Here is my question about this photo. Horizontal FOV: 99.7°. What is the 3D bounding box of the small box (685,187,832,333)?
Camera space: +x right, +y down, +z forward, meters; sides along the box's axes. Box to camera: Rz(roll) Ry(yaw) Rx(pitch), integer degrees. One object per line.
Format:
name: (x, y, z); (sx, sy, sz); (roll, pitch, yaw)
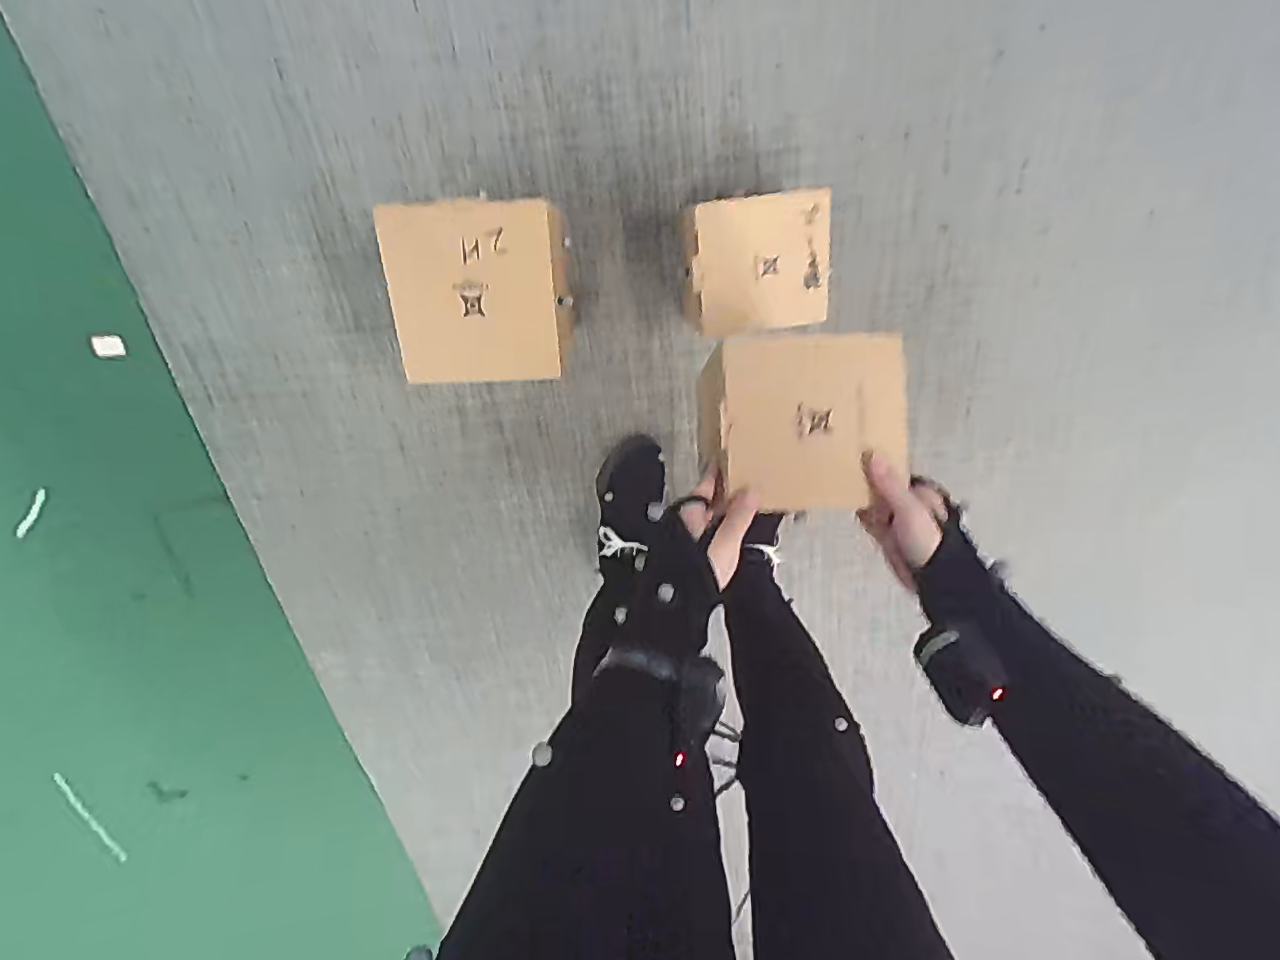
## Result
small box: (0.160, -0.315, 0.781); (0.179, 0.176, 0.168); (-6, 115, 1)

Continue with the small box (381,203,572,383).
small box: (-0.170, -0.219, 0.627); (0.168, 0.176, 0.179); (-2, 113, -3)

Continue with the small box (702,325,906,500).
small box: (0.162, -0.062, 0.590); (0.179, 0.176, 0.168); (-1, 88, -2)
